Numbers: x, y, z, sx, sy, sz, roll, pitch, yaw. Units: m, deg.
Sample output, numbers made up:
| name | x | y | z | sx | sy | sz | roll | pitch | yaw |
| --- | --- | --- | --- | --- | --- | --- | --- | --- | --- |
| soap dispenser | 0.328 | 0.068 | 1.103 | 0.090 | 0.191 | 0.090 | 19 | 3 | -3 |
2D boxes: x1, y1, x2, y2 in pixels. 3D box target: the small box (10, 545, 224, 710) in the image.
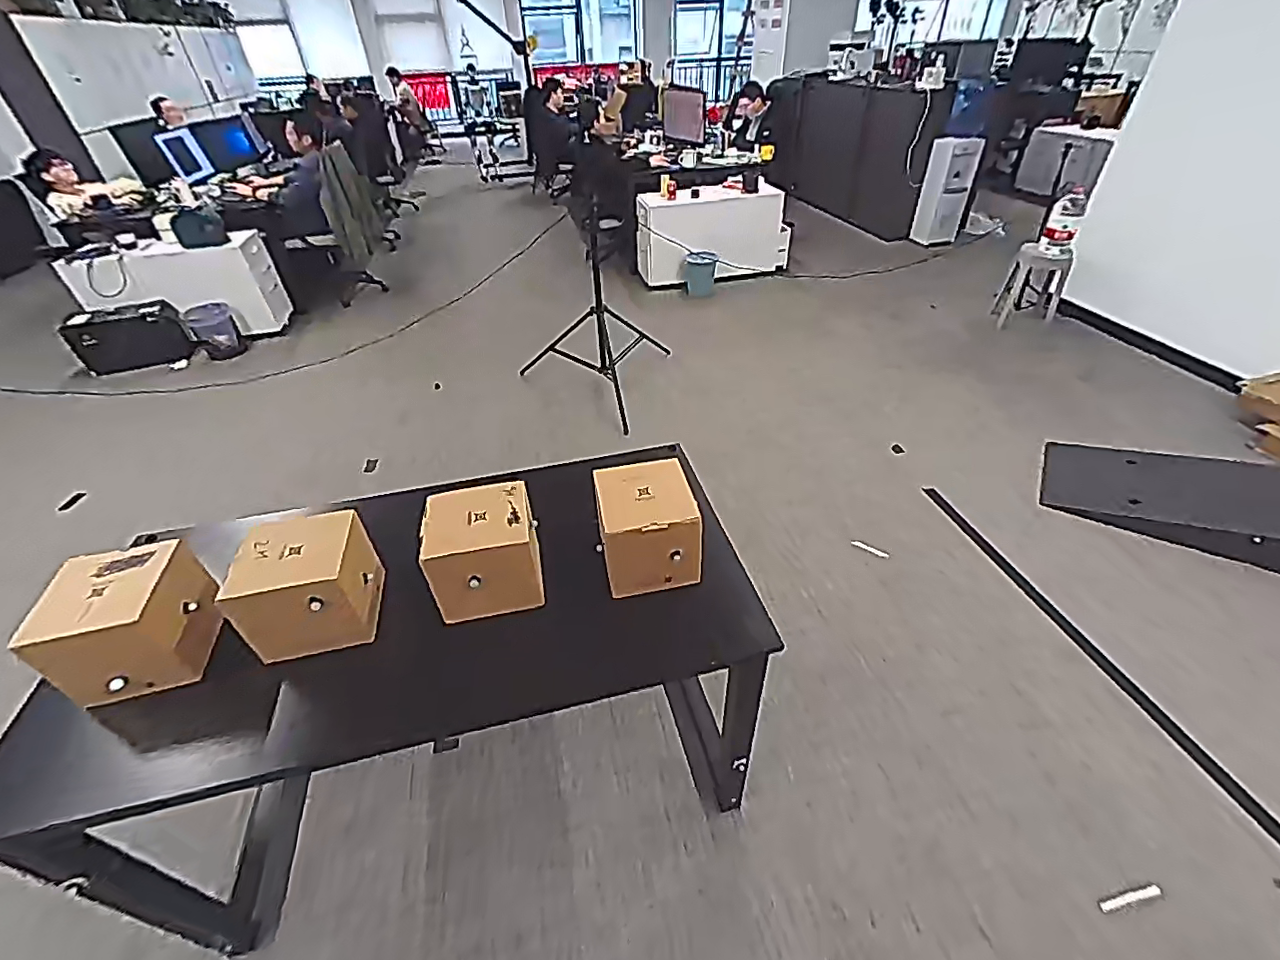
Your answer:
| name | x | y | z | sx | sy | sz | roll | pitch | yaw |
| --- | --- | --- | --- | --- | --- | --- | --- | --- | --- |
| small box | -0.823 | 0.239 | 0.883 | 0.168 | 0.176 | 0.179 | -12 | 41 | -11 |

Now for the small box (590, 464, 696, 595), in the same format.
| name | x | y | z | sx | sy | sz | roll | pitch | yaw |
| --- | --- | --- | --- | --- | --- | --- | --- | --- | --- |
| small box | 0.005 | 0.096 | 1.010 | 0.168 | 0.176 | 0.179 | -9 | 38 | -8 |

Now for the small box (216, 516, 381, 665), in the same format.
| name | x | y | z | sx | sy | sz | roll | pitch | yaw |
| --- | --- | --- | --- | --- | --- | --- | --- | --- | --- |
| small box | -0.565 | 0.189 | 0.927 | 0.179 | 0.176 | 0.168 | -11 | 39 | -10 |

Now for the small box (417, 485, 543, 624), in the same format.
| name | x | y | z | sx | sy | sz | roll | pitch | yaw |
| --- | --- | --- | --- | --- | --- | --- | --- | --- | --- |
| small box | -0.281 | 0.137 | 0.977 | 0.179 | 0.176 | 0.168 | -10 | 40 | -8 |
